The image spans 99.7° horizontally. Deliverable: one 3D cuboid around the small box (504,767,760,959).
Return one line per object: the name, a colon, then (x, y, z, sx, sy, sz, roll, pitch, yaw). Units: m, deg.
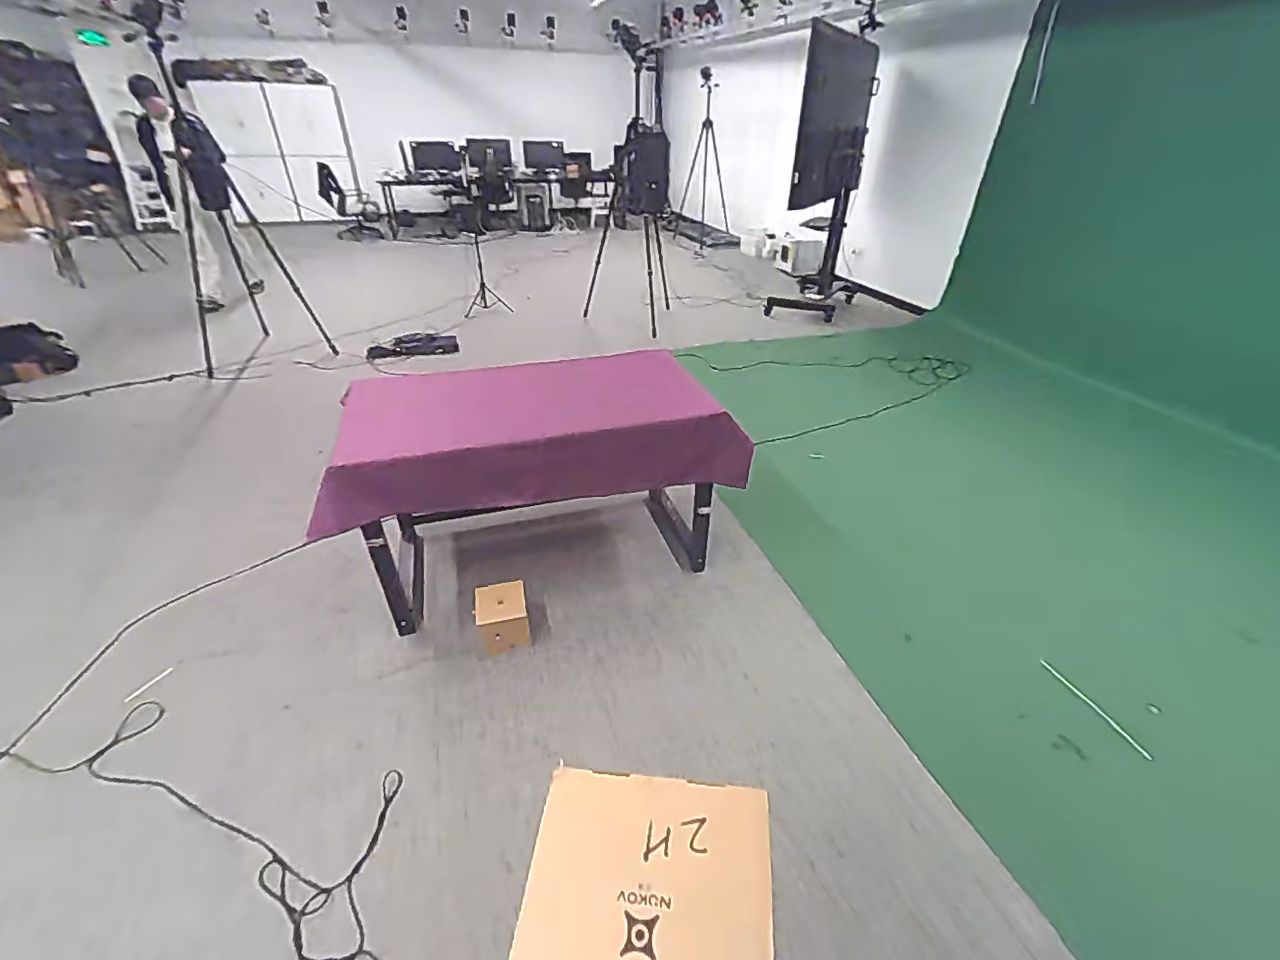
small box: (0.005, 0.352, 0.414, 0.168, 0.176, 0.179, 2, 42, 10)
